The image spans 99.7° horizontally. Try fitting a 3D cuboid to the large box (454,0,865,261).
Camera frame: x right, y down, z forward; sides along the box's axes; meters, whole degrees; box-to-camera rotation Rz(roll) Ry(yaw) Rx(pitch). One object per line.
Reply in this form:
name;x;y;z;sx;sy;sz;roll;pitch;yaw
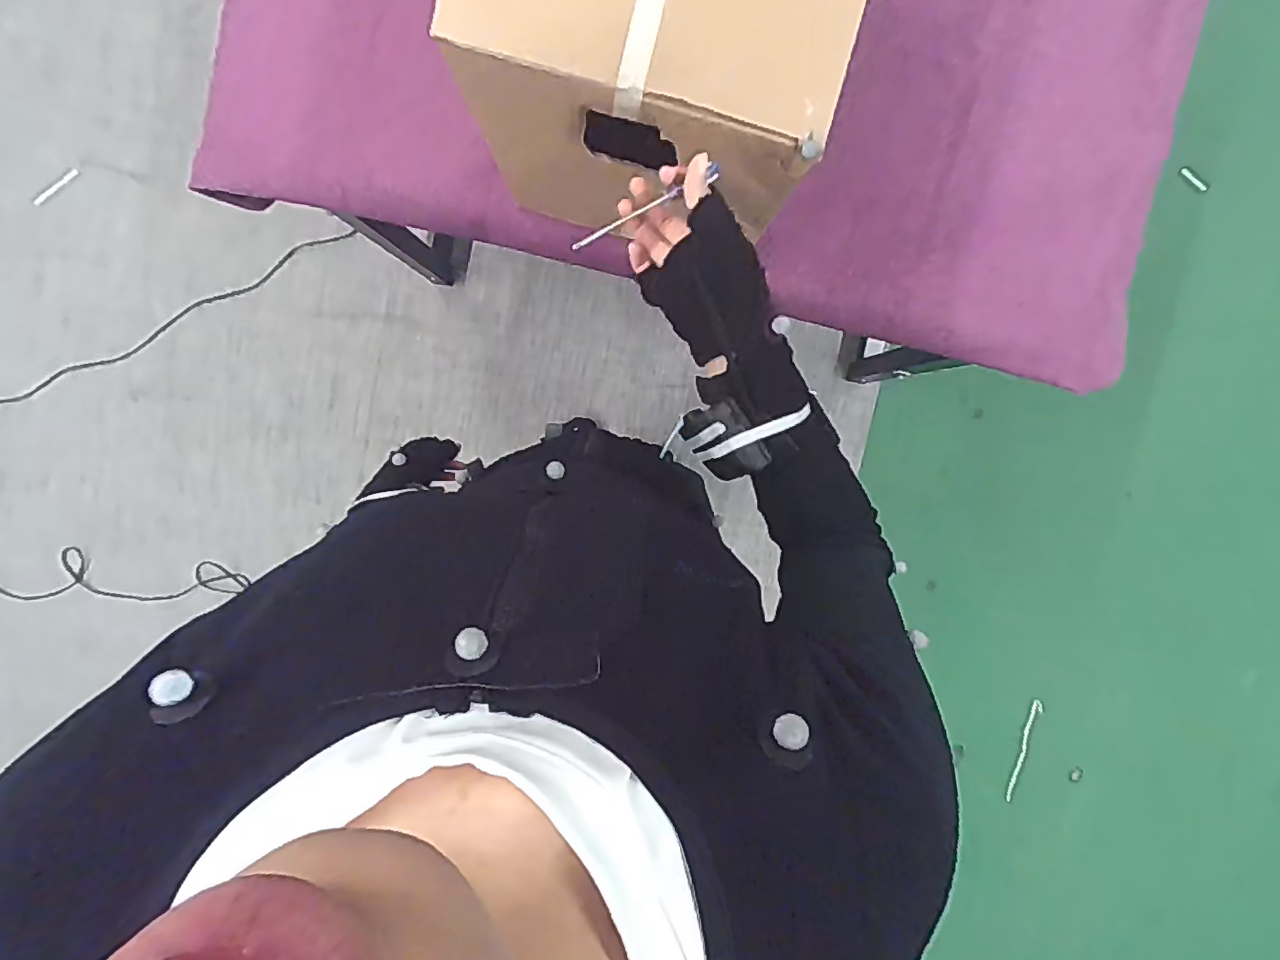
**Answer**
large box;0.043;-0.507;0.561;0.320;0.320;0.408;15;96;-3
